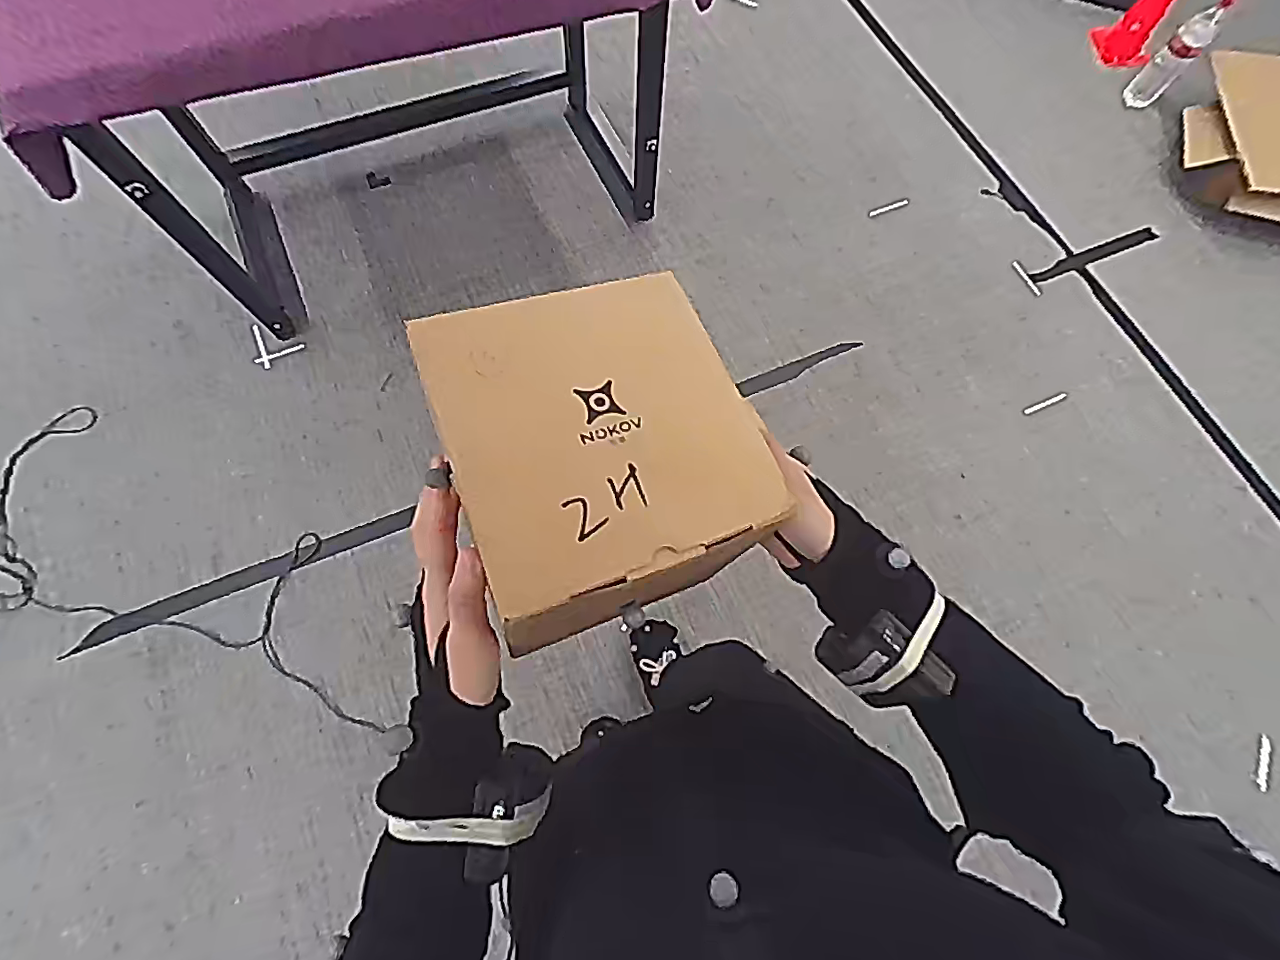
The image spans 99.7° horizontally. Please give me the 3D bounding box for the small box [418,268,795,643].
[{"bbox_3d":[-0.034,-0.008,0.369,0.168,0.176,0.179,-18,72,-18],"label":"small box"}]
